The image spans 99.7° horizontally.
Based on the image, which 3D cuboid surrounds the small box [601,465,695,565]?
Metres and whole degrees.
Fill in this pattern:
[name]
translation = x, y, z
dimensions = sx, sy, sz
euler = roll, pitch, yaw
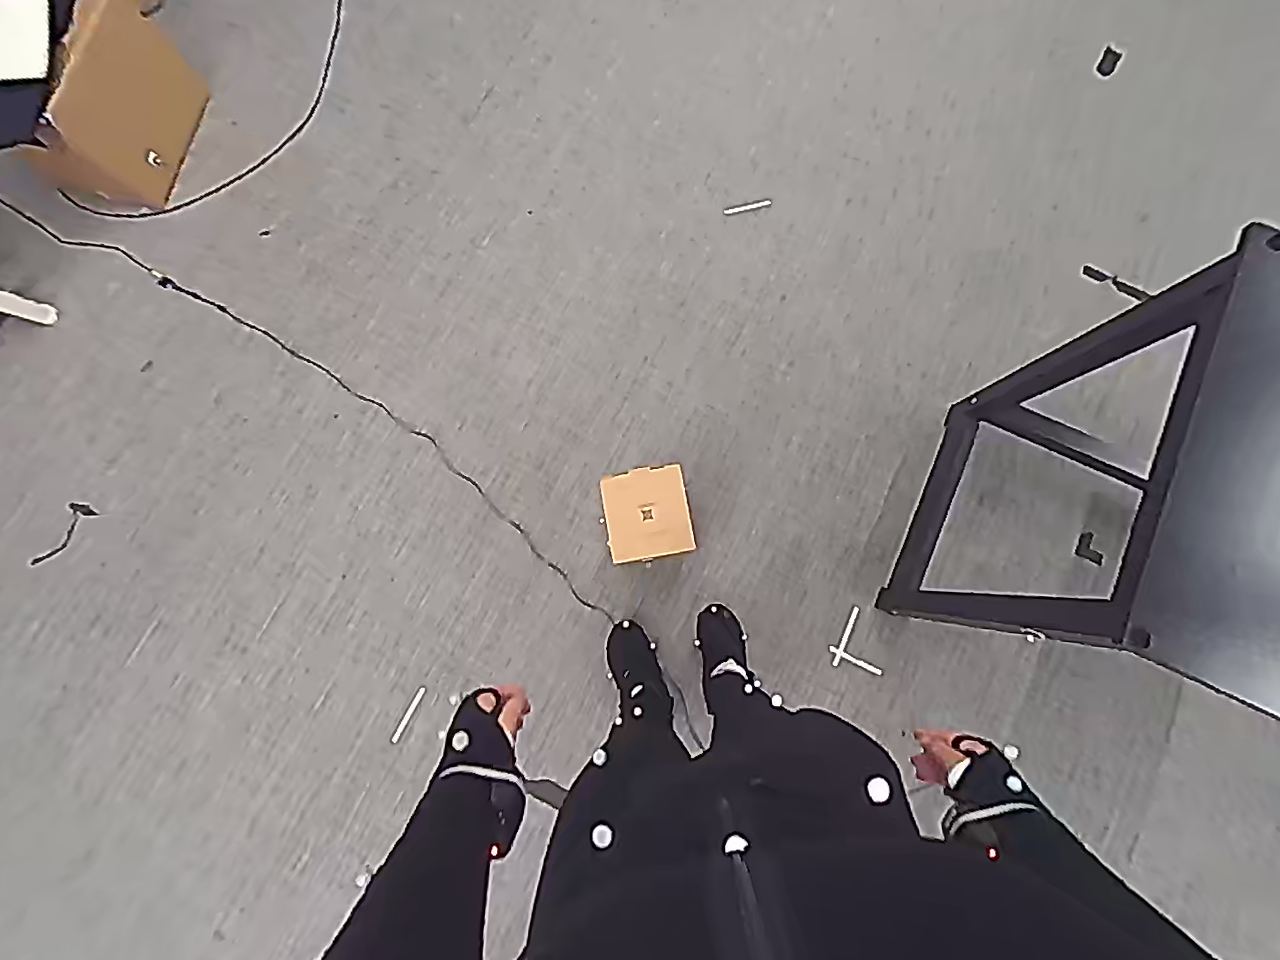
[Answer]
[small box]
translation = 0.014, 0.080, 1.145
dimensions = 0.168, 0.176, 0.179
euler = -11, 81, 0
